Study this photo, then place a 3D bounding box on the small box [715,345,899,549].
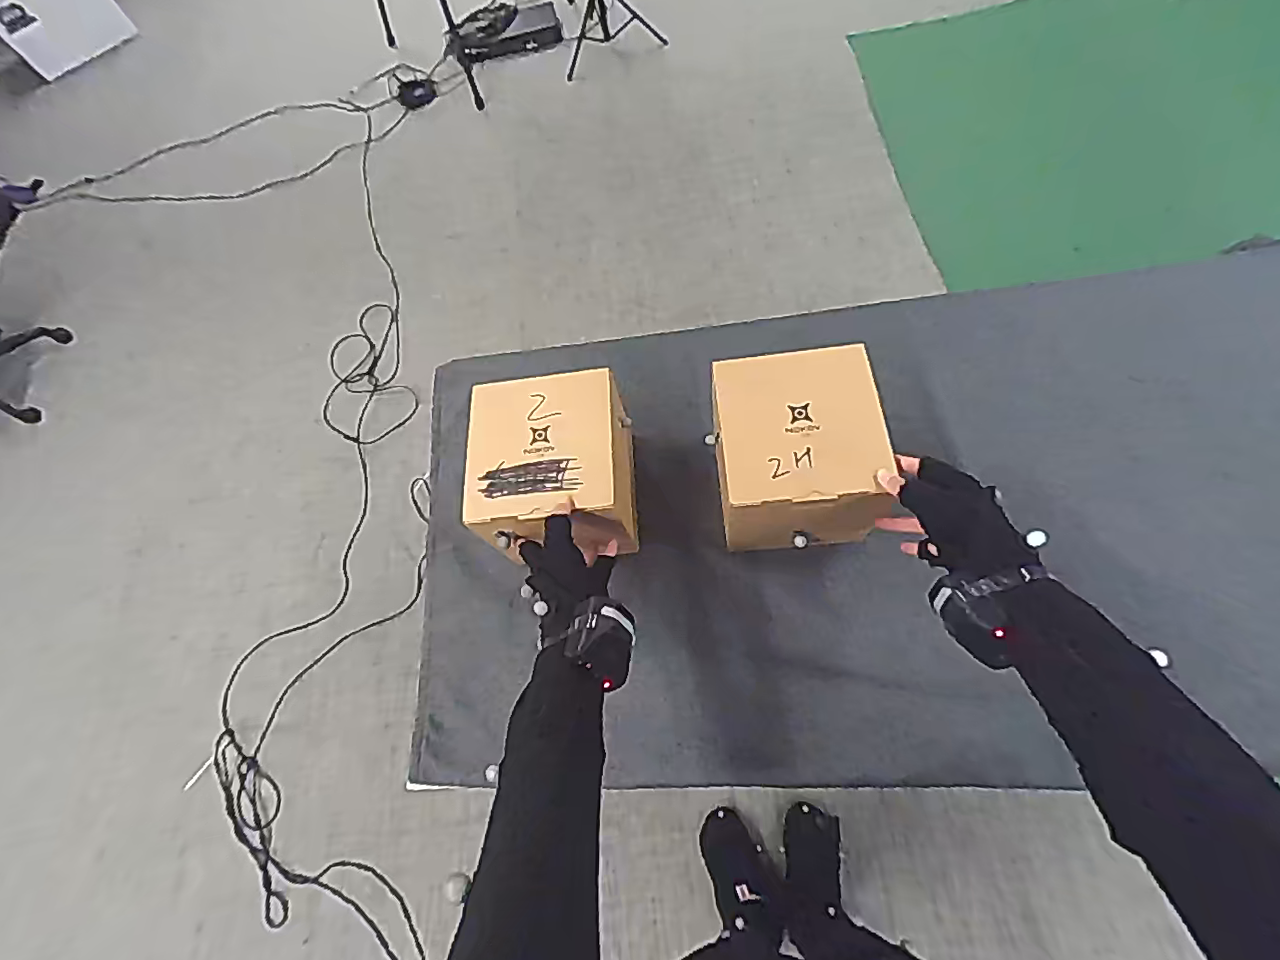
[{"bbox_3d":[0.177,-0.030,0.634,0.168,0.176,0.179,-6,67,6],"label":"small box"}]
